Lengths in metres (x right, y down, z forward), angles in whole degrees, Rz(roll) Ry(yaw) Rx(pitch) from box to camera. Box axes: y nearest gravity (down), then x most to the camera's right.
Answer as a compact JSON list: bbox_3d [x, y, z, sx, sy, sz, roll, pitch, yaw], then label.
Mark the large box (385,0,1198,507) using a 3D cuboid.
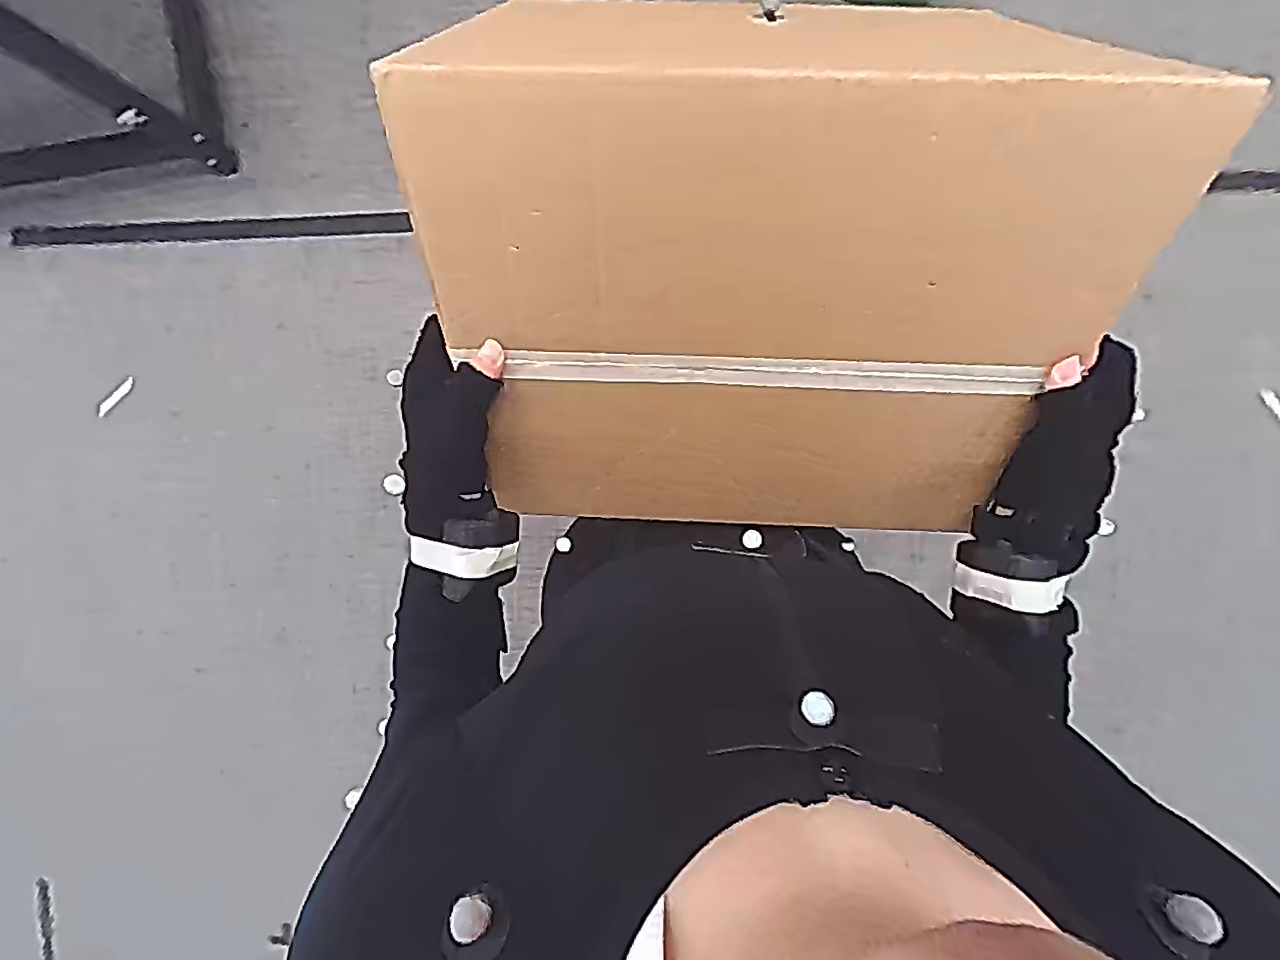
[{"bbox_3d":[0.077,-0.191,0.471,0.408,0.320,0.320,1,136,2],"label":"large box"}]
